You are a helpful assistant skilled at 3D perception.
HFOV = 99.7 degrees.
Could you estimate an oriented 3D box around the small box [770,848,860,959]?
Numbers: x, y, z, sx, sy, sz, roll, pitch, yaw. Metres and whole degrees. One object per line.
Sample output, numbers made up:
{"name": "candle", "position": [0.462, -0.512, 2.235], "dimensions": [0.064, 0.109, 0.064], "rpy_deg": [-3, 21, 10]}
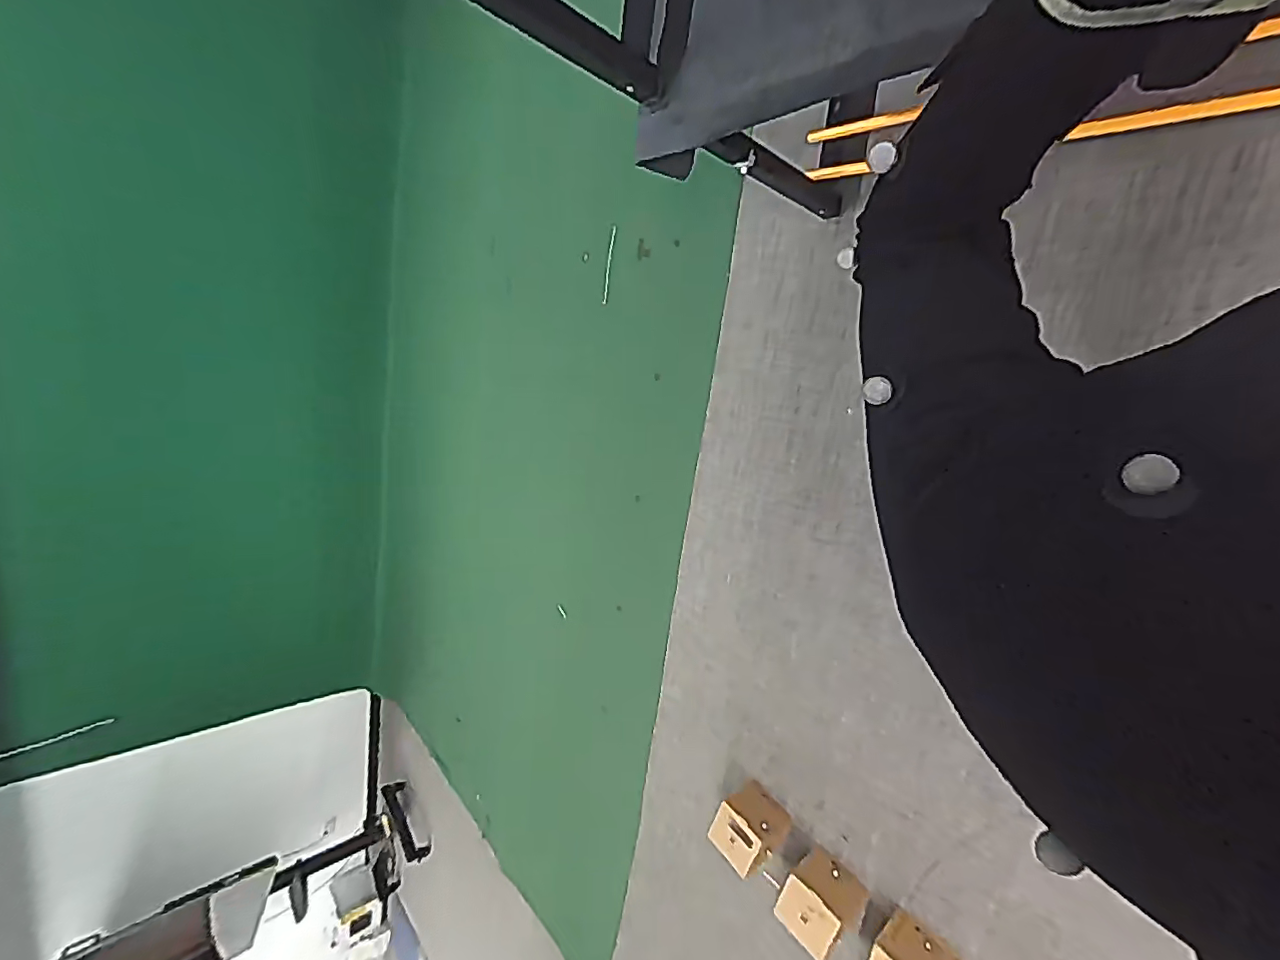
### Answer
{"name": "small box", "position": [0.516, 1.240, 1.585], "dimensions": [0.168, 0.176, 0.179], "rpy_deg": [30, 112, 41]}

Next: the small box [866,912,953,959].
{"name": "small box", "position": [0.692, 1.296, 1.406], "dimensions": [0.168, 0.176, 0.179], "rpy_deg": [21, 106, 44]}
